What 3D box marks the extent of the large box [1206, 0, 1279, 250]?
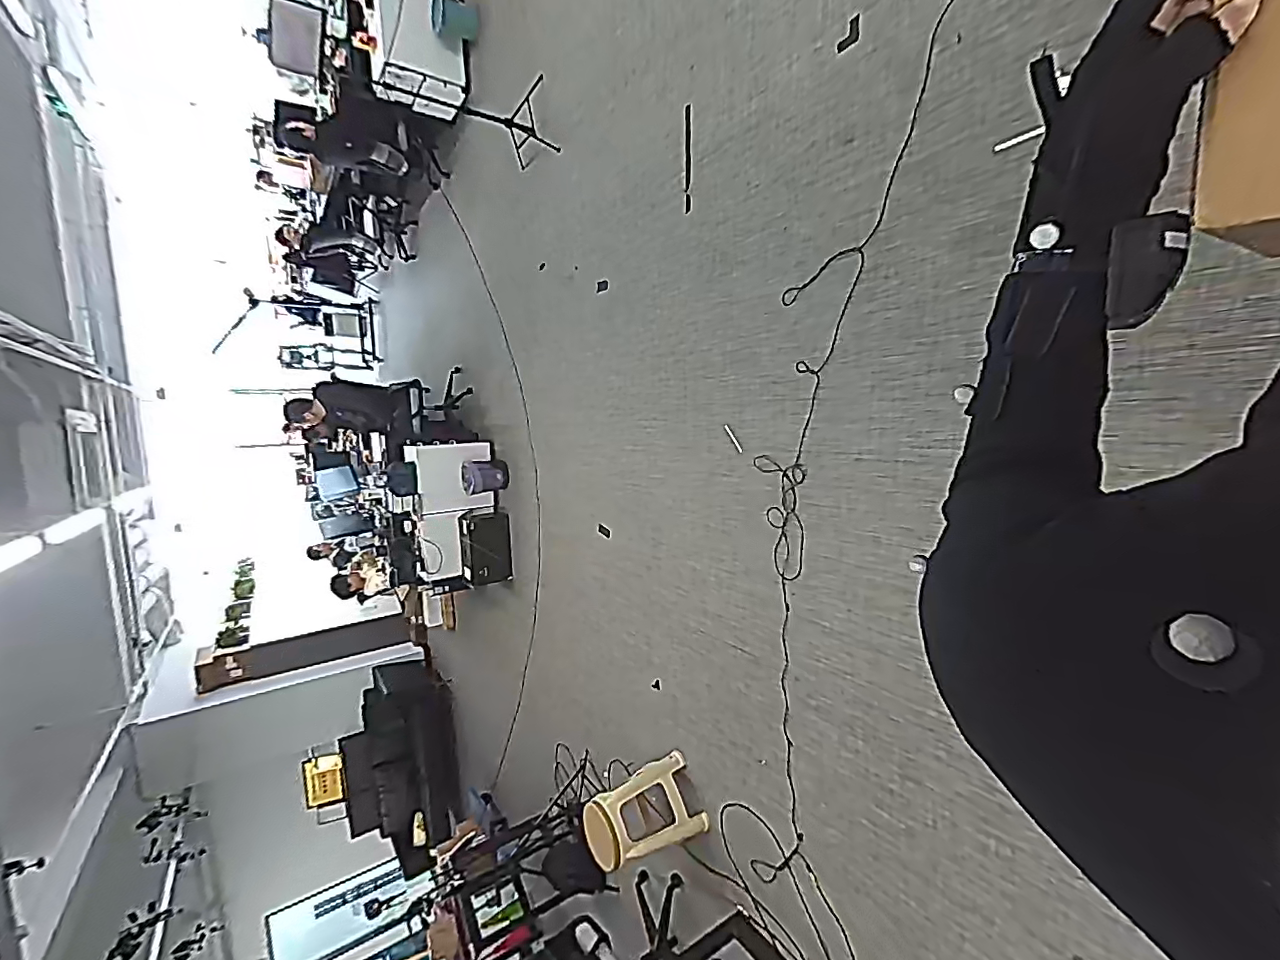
[{"bbox_3d":[0.551,-0.311,0.222,0.408,0.320,0.320,9,109,52],"label":"large box"}]
